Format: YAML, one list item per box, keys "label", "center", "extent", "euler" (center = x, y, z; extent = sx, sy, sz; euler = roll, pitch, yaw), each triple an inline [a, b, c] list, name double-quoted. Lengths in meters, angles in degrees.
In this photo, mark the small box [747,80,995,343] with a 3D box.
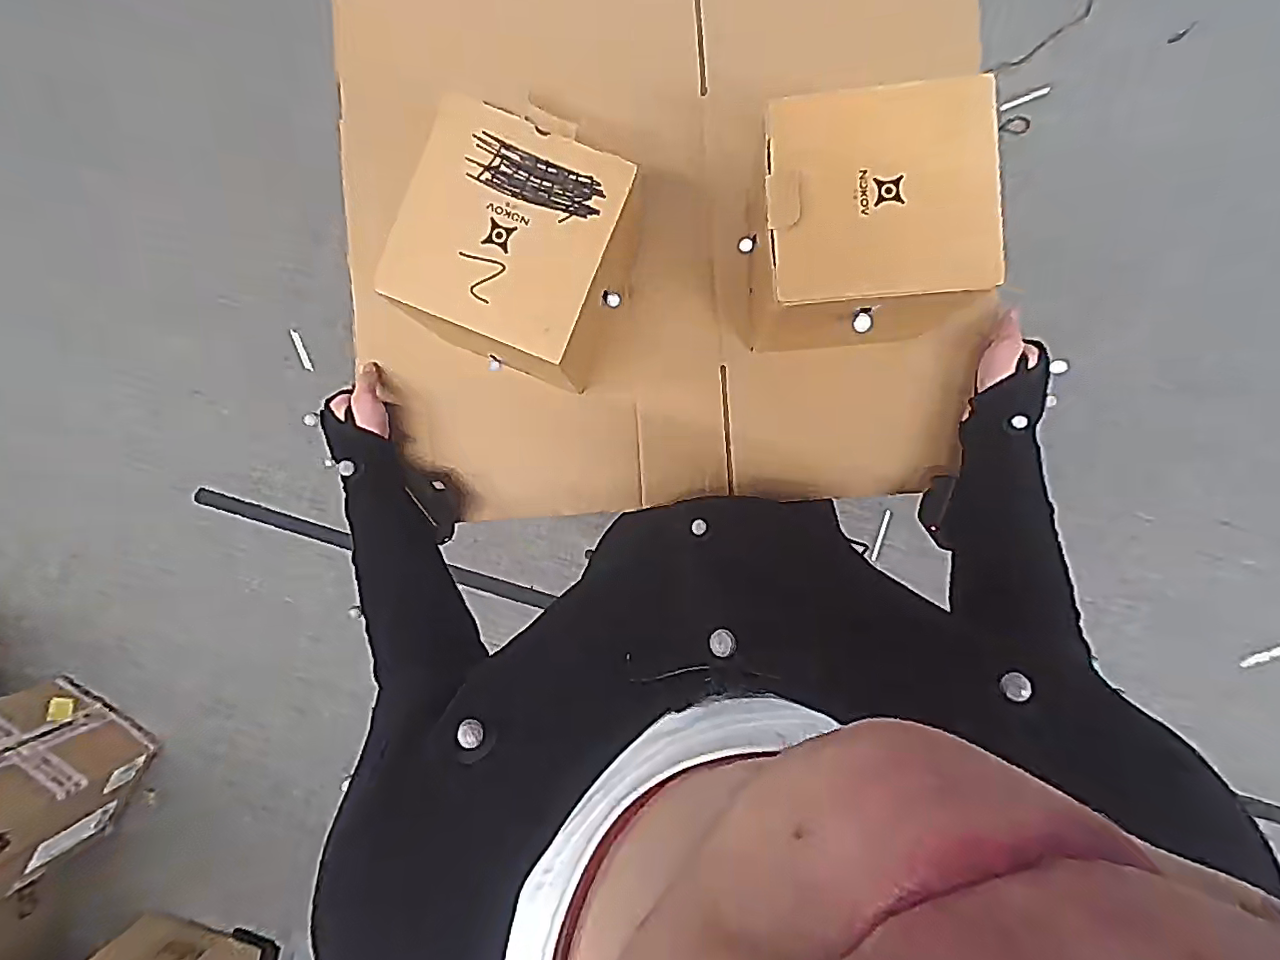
- label: "small box"
  center: [0.203, -0.236, 0.519]
  extent: [0.179, 0.176, 0.168]
  euler: [-3, 90, 6]
